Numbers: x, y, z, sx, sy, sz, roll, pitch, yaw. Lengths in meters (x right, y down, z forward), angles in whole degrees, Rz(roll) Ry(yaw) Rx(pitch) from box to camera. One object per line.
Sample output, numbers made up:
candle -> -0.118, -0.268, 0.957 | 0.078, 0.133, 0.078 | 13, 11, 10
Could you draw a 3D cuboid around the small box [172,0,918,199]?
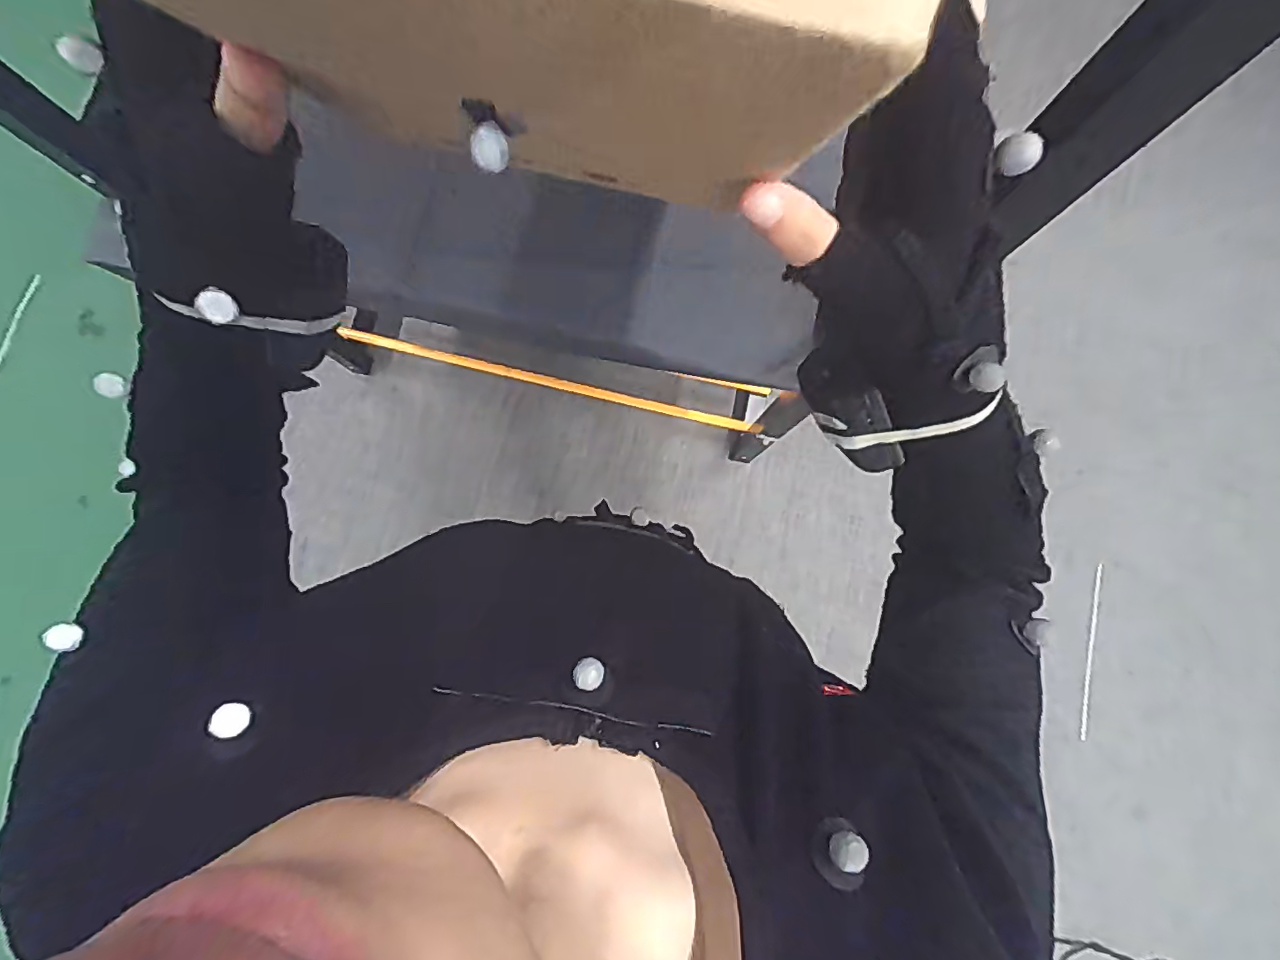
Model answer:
small box -> -0.018, -0.186, 0.133 | 0.168, 0.176, 0.179 | 11, 110, -4
